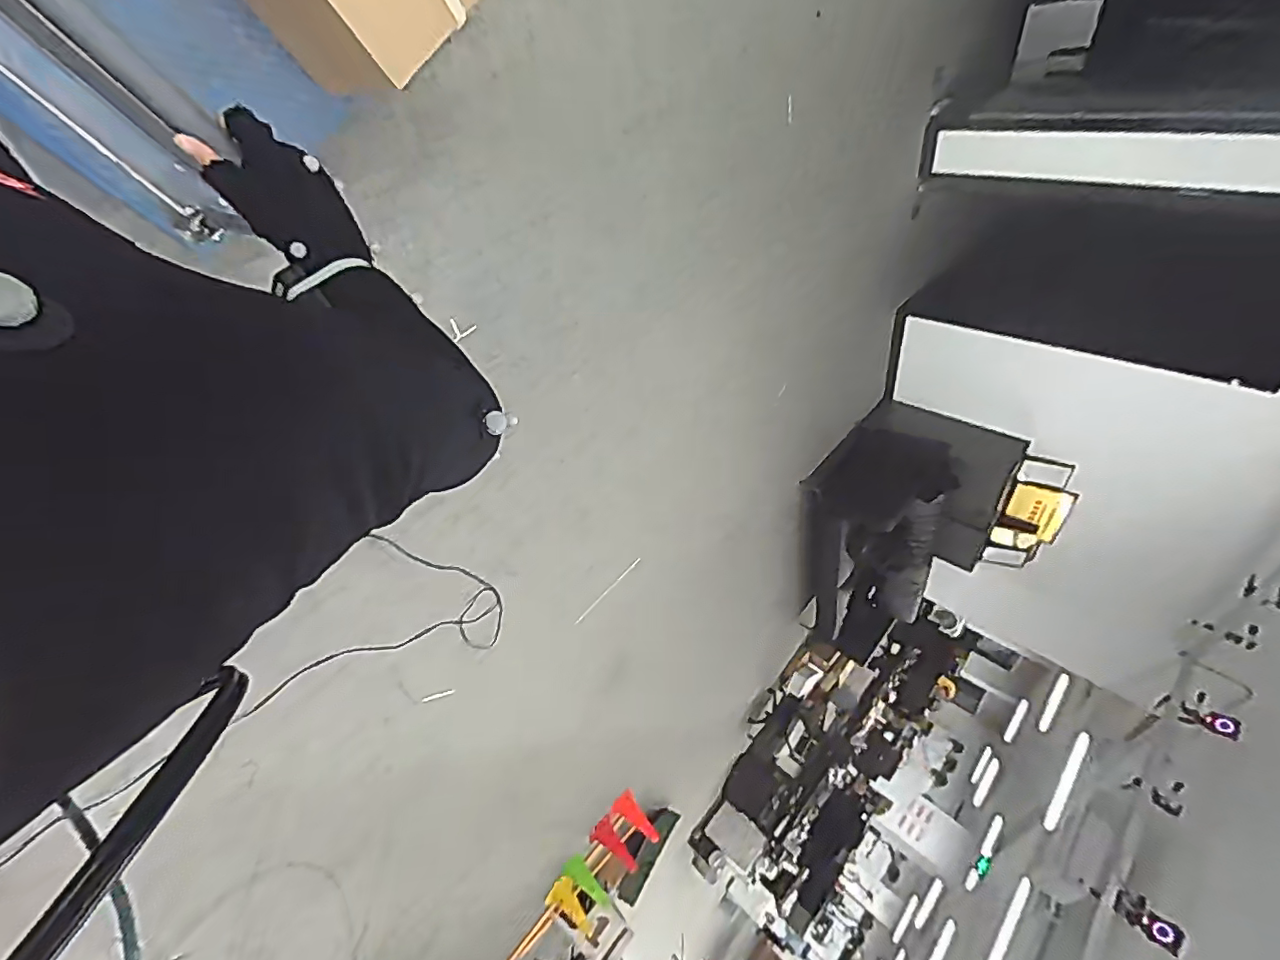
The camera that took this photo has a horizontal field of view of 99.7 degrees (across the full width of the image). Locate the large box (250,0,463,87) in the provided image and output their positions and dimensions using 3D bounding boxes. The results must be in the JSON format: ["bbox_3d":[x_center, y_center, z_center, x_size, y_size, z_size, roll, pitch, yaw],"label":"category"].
[{"bbox_3d":[-0.481,-0.874,0.780,0.320,0.320,0.408,-55,143,-7],"label":"large box"}]
